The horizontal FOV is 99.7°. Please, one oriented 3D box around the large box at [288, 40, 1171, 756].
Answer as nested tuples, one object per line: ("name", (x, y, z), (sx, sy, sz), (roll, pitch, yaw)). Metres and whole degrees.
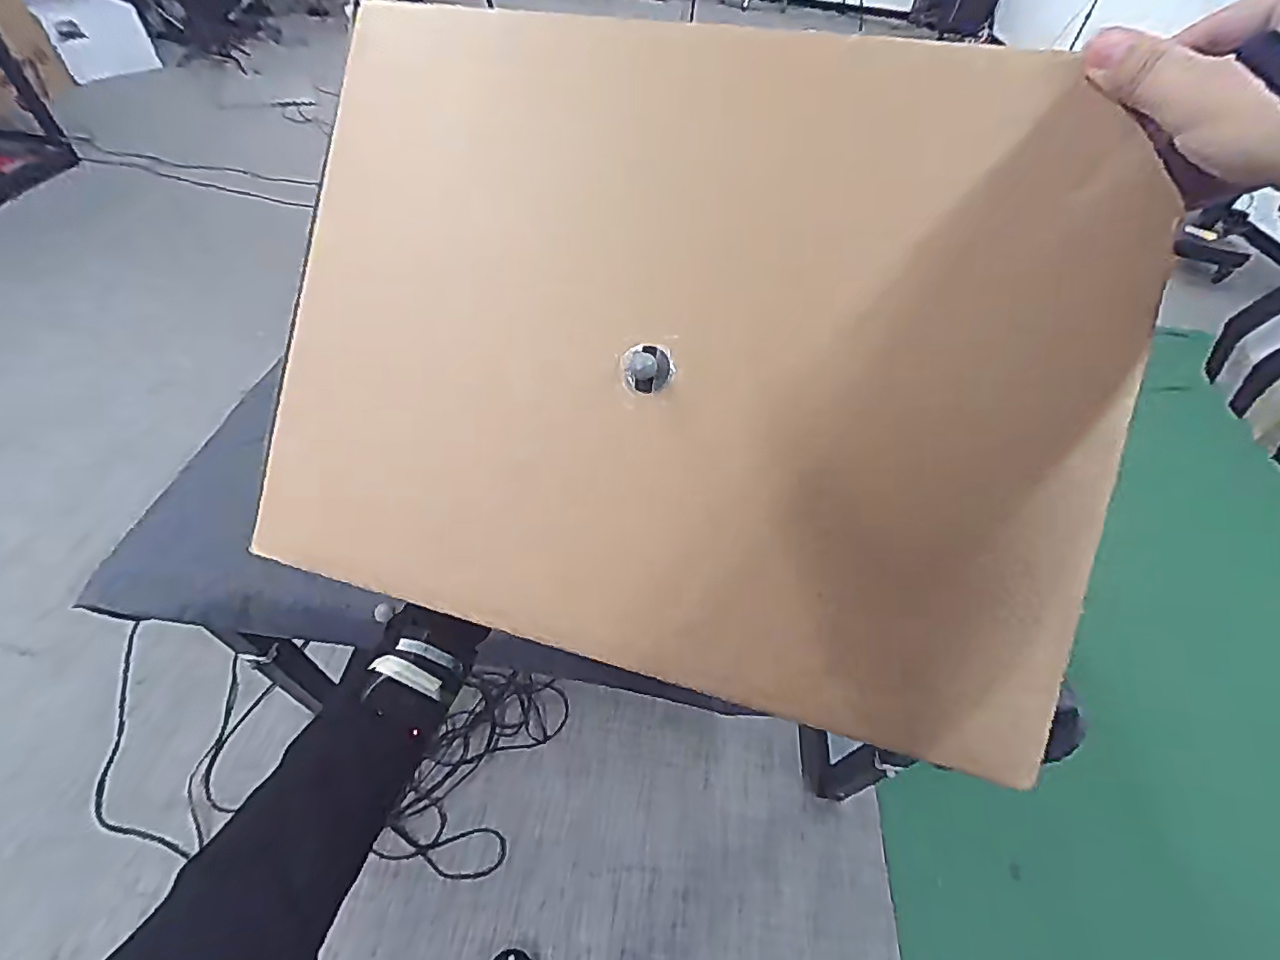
("large box", (0.039, -0.055, 0.418), (0.408, 0.320, 0.320), (12, 92, 10))
